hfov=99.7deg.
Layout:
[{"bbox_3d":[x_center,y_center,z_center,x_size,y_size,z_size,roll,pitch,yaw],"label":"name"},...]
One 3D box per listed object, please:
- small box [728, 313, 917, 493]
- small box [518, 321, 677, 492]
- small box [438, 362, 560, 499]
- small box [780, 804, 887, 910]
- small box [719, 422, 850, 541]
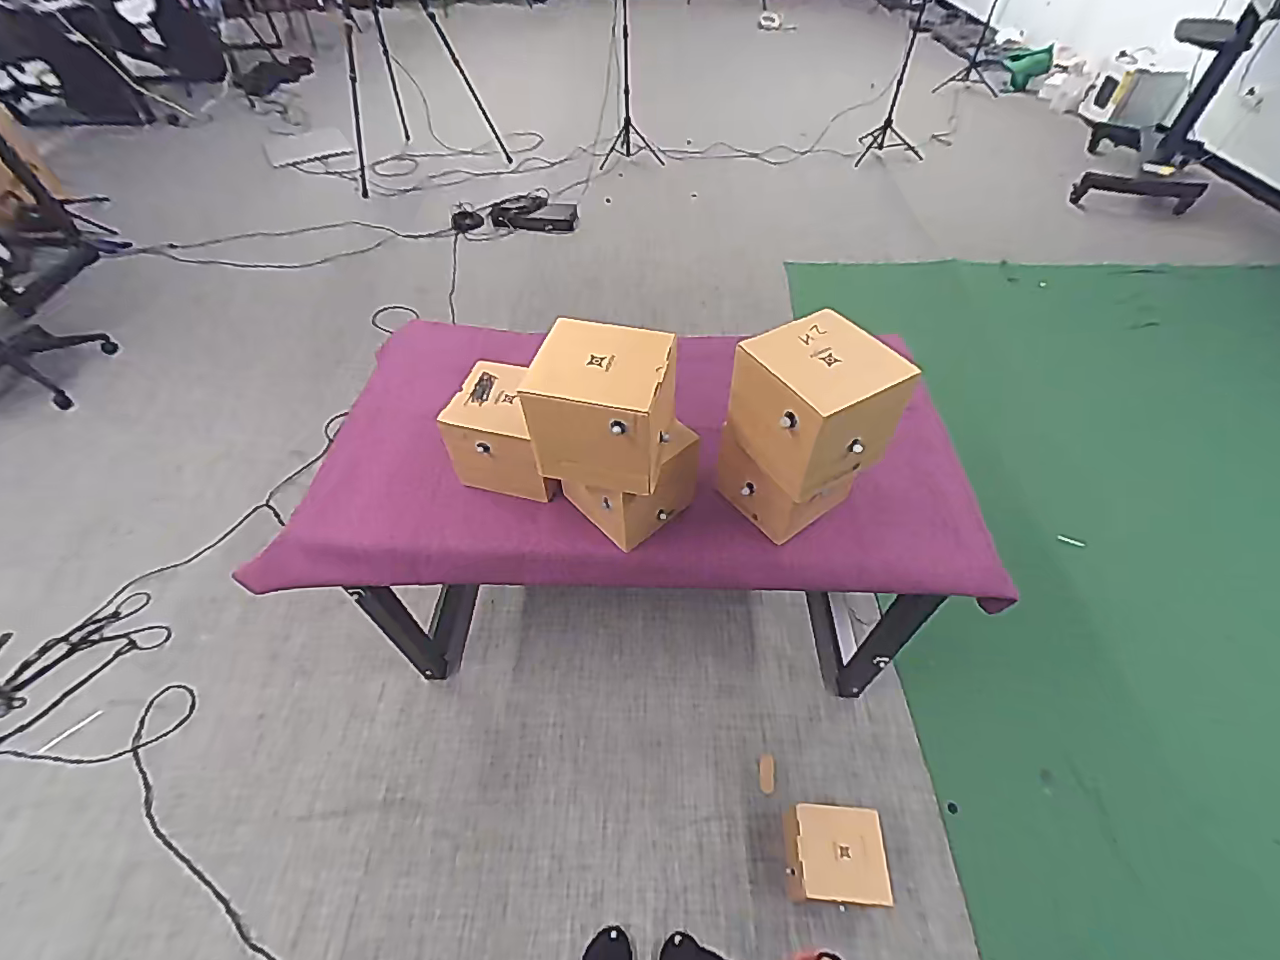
[{"bbox_3d":[0.245,-0.103,0.772,0.168,0.176,0.179,-24,52,-19],"label":"small box"},{"bbox_3d":[-0.051,-0.102,0.777,0.179,0.176,0.168,11,51,9],"label":"small box"},{"bbox_3d":[-0.228,-0.086,0.976,0.179,0.176,0.168,12,52,9],"label":"small box"},{"bbox_3d":[0.404,0.818,1.169,0.179,0.176,0.168,4,51,3],"label":"small box"},{"bbox_3d":[0.249,-0.027,0.924,0.179,0.176,0.168,-30,56,-22],"label":"small box"}]
